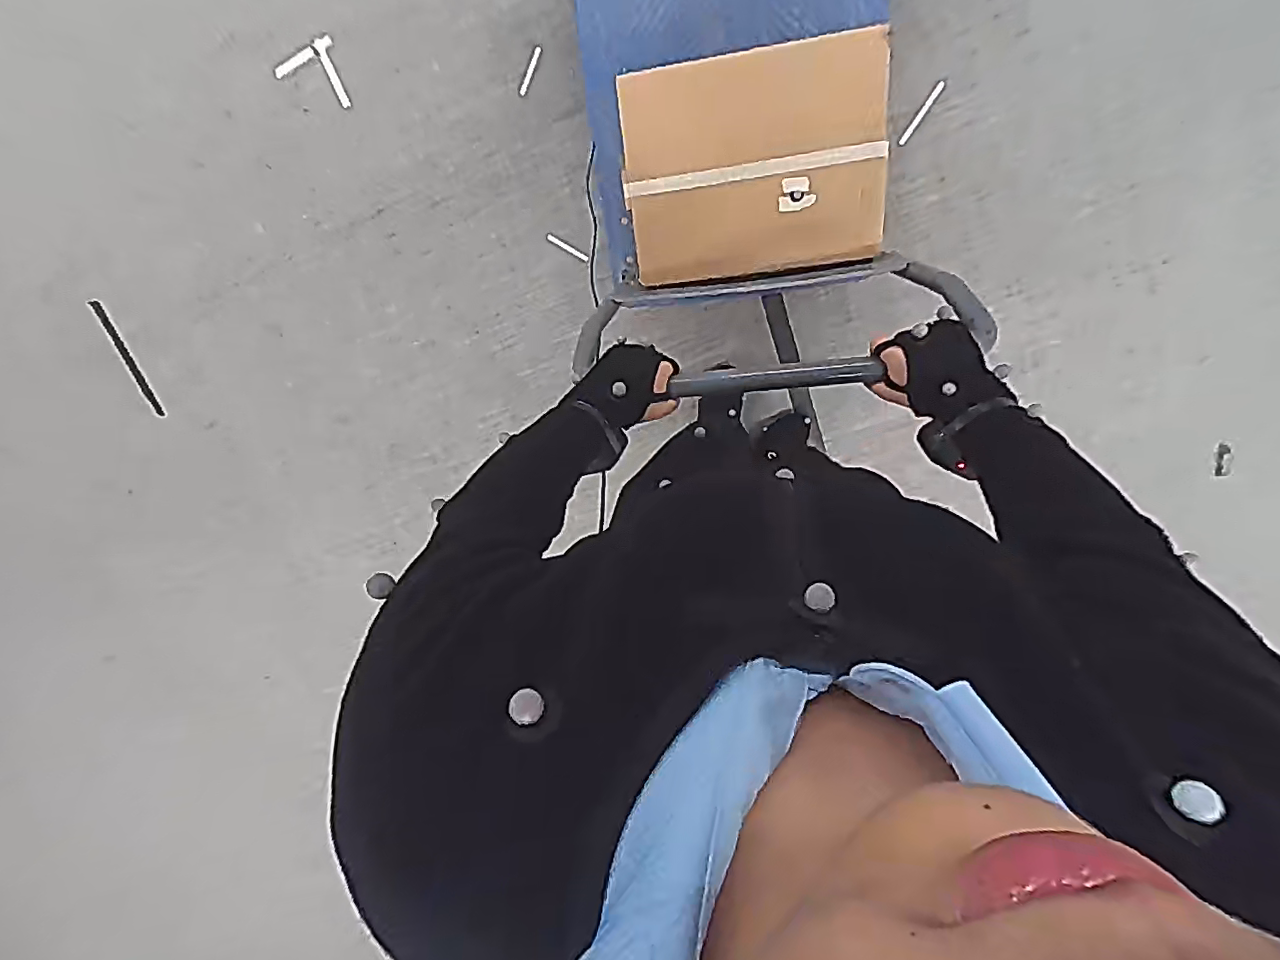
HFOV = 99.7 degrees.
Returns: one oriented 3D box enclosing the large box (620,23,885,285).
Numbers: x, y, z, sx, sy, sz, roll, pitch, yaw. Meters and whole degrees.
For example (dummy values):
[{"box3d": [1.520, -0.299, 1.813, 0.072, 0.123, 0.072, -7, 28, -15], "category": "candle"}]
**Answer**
[{"box3d": [0.199, -0.566, 1.009, 0.408, 0.320, 0.320, -5, 114, 9], "category": "large box"}]
